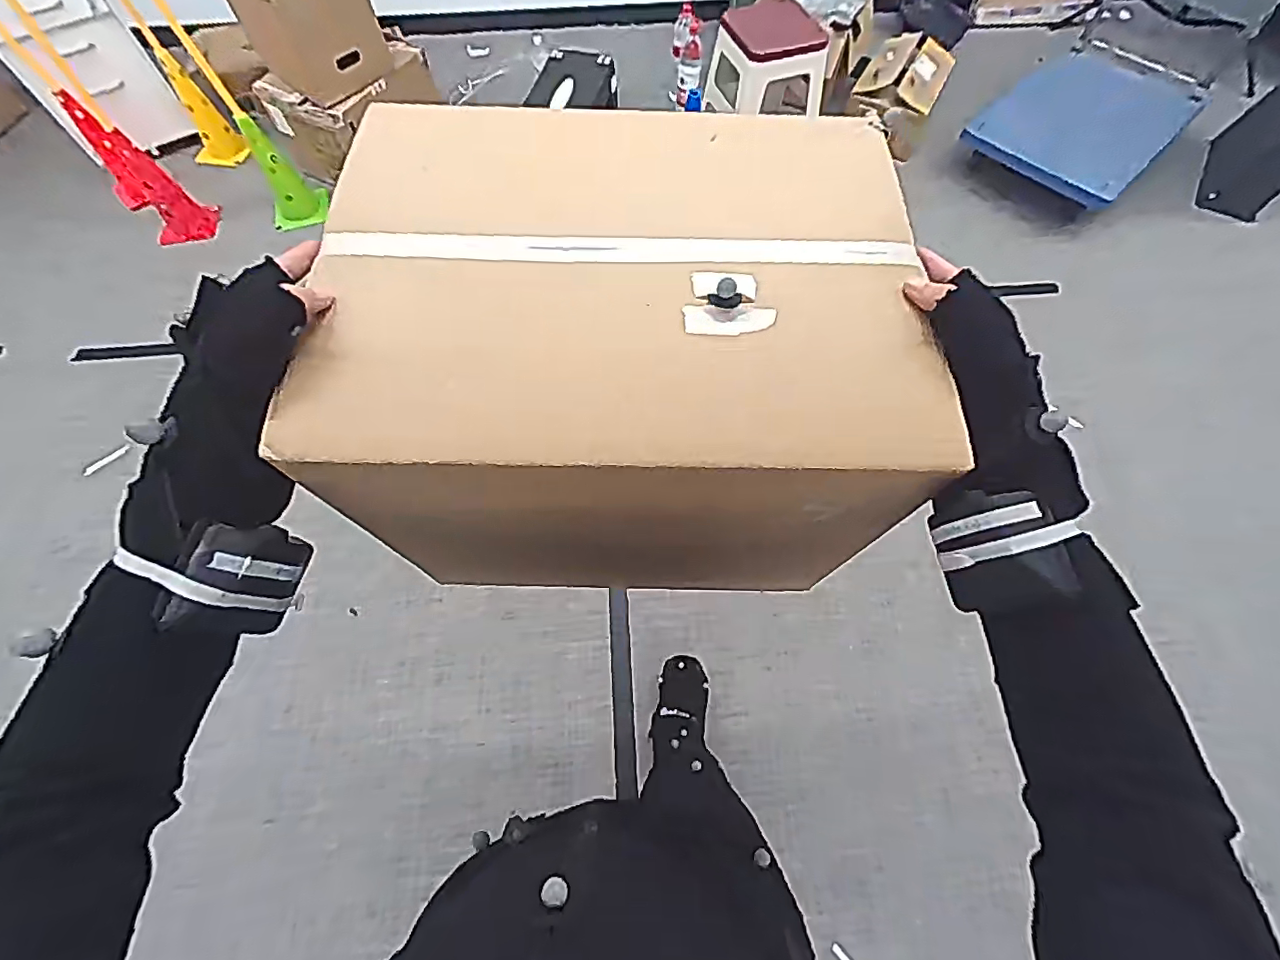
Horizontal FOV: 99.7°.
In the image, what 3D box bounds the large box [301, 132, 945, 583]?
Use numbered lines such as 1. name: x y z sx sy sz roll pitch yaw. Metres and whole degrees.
1. large box: -0.013 -0.088 0.525 0.408 0.320 0.320 1 66 -1
